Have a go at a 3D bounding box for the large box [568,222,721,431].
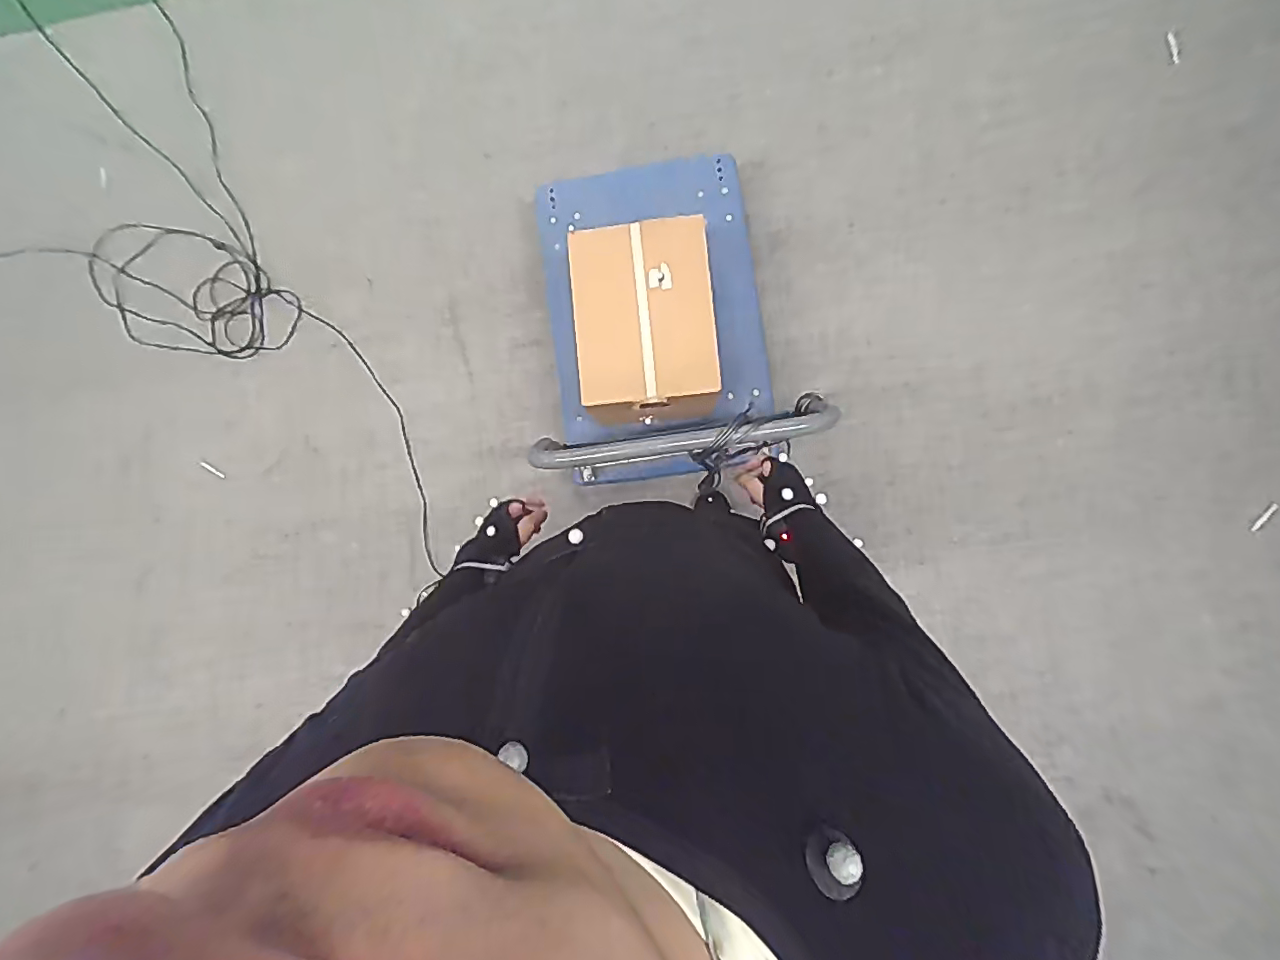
[{"bbox_3d":[0.017,-0.358,1.359,0.320,0.320,0.408,-5,85,3],"label":"large box"}]
